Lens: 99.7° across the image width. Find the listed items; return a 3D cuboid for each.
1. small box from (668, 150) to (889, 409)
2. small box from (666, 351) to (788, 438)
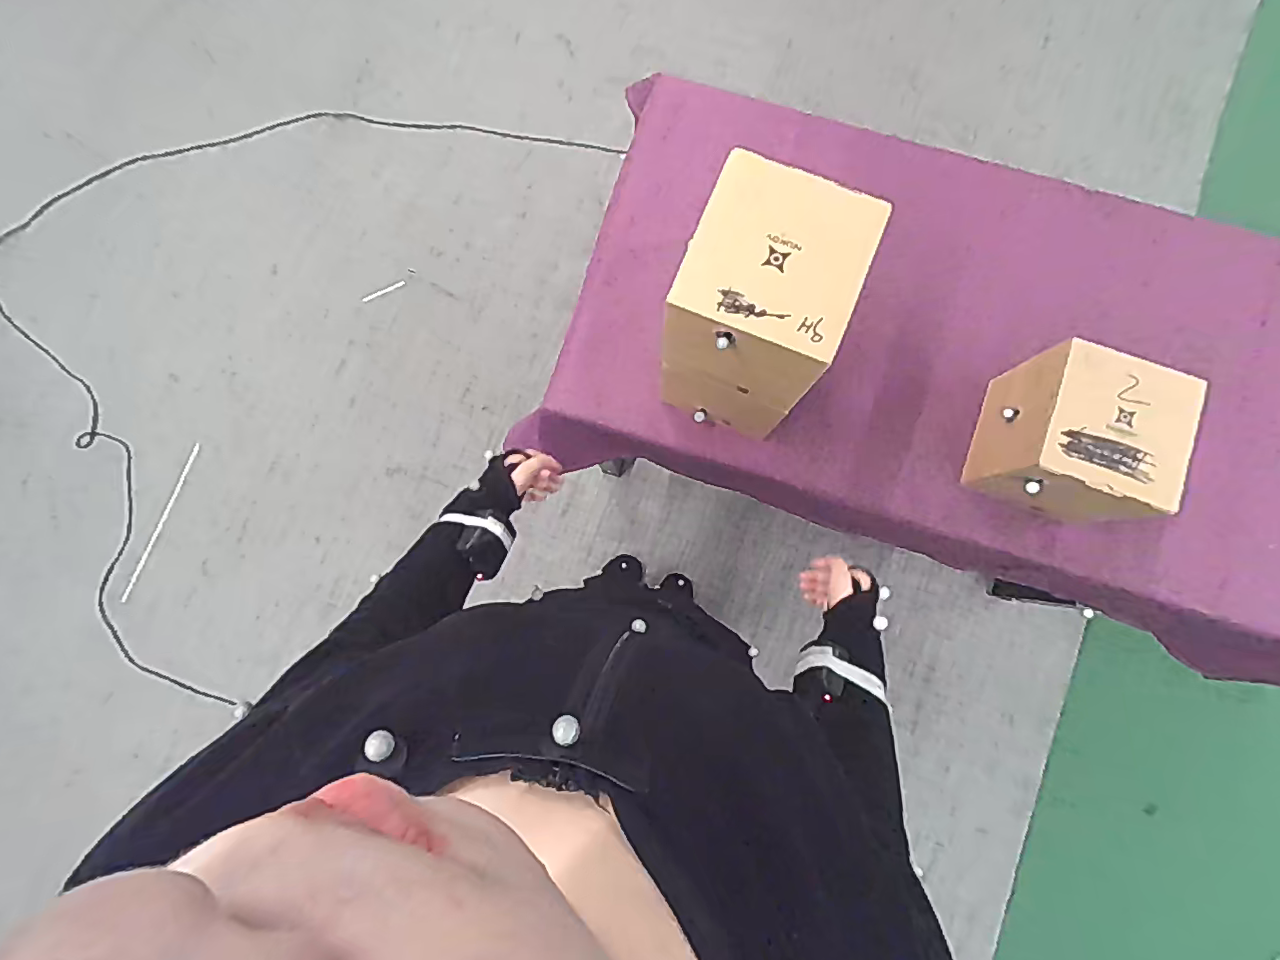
[{"bbox_3d":[0.134,-0.203,0.589,0.168,0.176,0.179,23,82,6],"label":"small box"},{"bbox_3d":[0.139,-0.180,0.753,0.168,0.176,0.179,23,84,5],"label":"small box"}]
